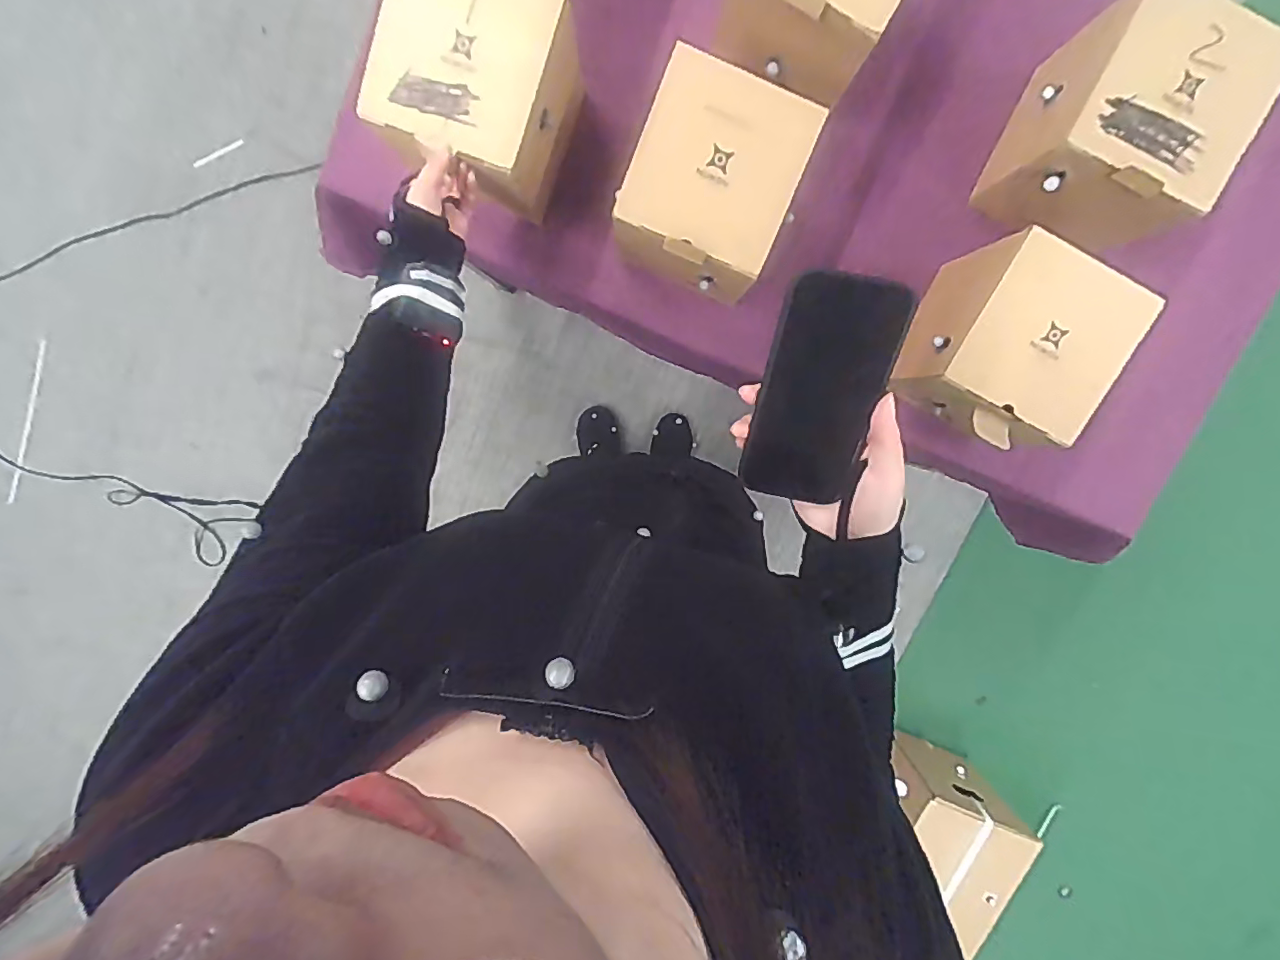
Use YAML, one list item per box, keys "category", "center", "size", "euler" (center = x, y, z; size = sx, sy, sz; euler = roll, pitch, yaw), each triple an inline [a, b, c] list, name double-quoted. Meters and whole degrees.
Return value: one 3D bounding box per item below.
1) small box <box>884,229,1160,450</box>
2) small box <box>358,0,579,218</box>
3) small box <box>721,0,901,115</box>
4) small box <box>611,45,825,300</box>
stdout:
- category: "small box"
  center: [0.428, -0.157, 0.644]
  size: [0.168, 0.176, 0.179]
  euler: [28, 99, -4]
- category: "small box"
  center: [-0.175, -0.425, 0.605]
  size: [0.168, 0.176, 0.179]
  euler: [20, 97, -3]
- category: "small box"
  center: [0.202, -0.549, 0.581]
  size: [0.168, 0.176, 0.179]
  euler: [30, 99, -4]
- category: "small box"
  center: [0.079, -0.327, 0.621]
  size: [0.168, 0.176, 0.179]
  euler: [23, 98, -4]
